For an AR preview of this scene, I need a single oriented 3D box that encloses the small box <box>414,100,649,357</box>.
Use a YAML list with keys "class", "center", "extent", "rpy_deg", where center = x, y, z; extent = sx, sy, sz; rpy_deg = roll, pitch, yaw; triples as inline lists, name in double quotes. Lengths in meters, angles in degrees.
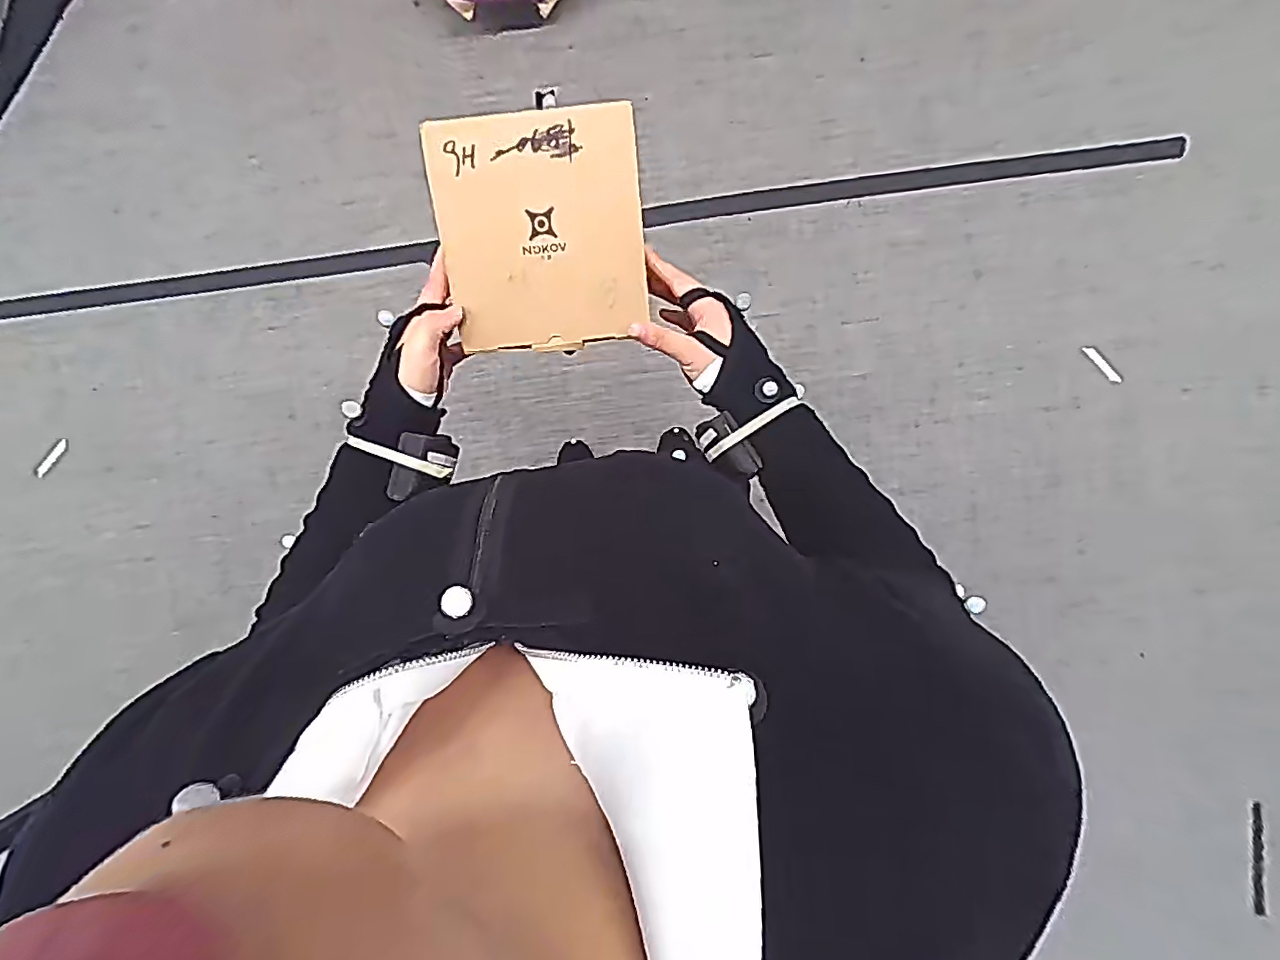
- class: "small box"
  center: [-0.080, -0.222, 0.504]
  extent: [0.168, 0.176, 0.179]
  rpy_deg: [-6, 111, 2]
